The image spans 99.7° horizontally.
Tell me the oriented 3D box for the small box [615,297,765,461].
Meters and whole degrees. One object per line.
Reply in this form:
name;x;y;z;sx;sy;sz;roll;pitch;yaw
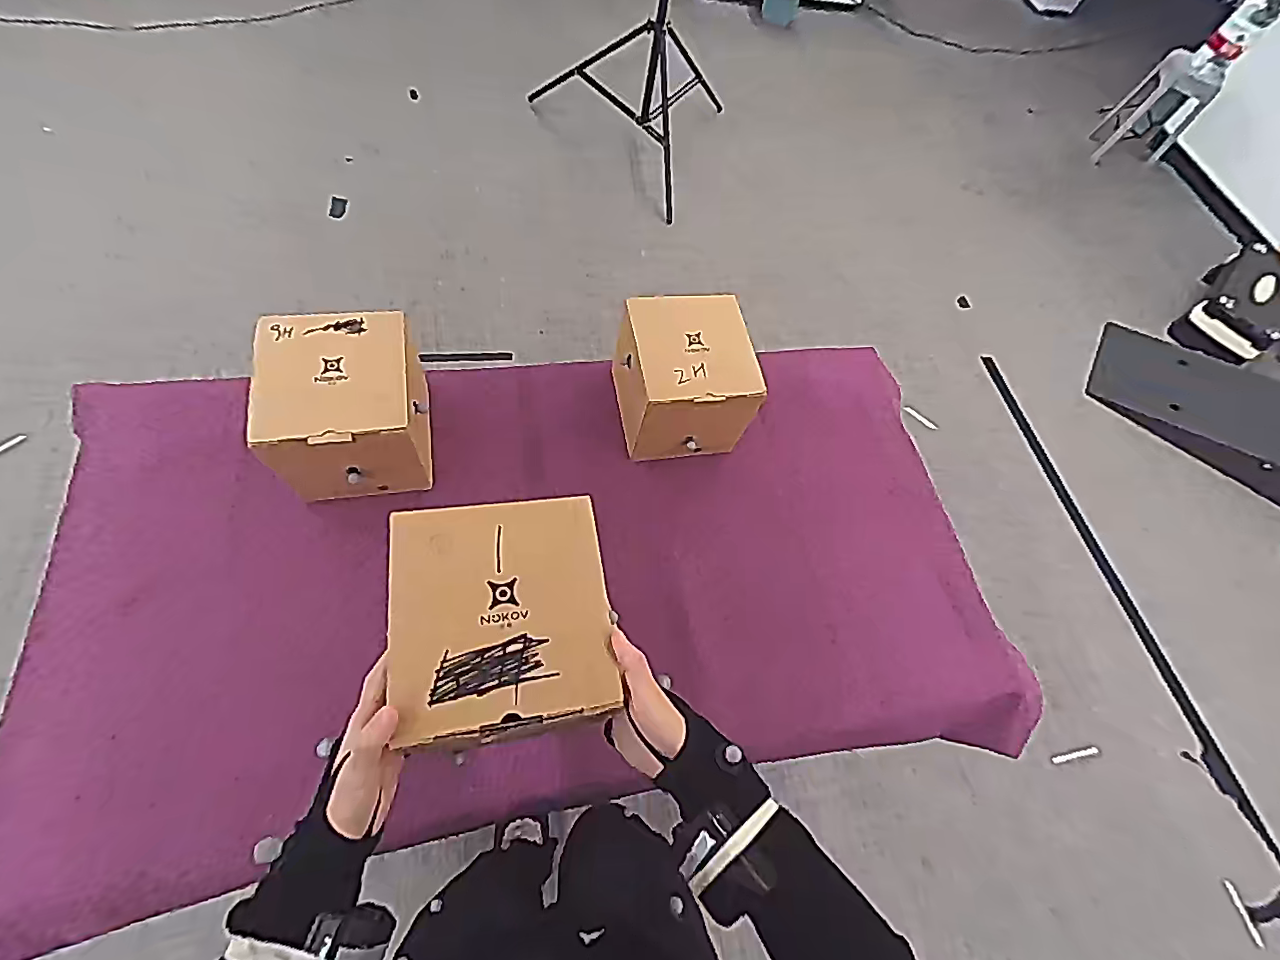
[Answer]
small box;0.061;-0.148;0.808;0.168;0.176;0.179;-6;66;-12

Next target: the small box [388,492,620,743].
small box;-0.120;0.130;0.489;0.168;0.176;0.179;-4;62;-14

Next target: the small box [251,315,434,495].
small box;-0.370;-0.088;0.702;0.168;0.176;0.179;-7;67;-13
